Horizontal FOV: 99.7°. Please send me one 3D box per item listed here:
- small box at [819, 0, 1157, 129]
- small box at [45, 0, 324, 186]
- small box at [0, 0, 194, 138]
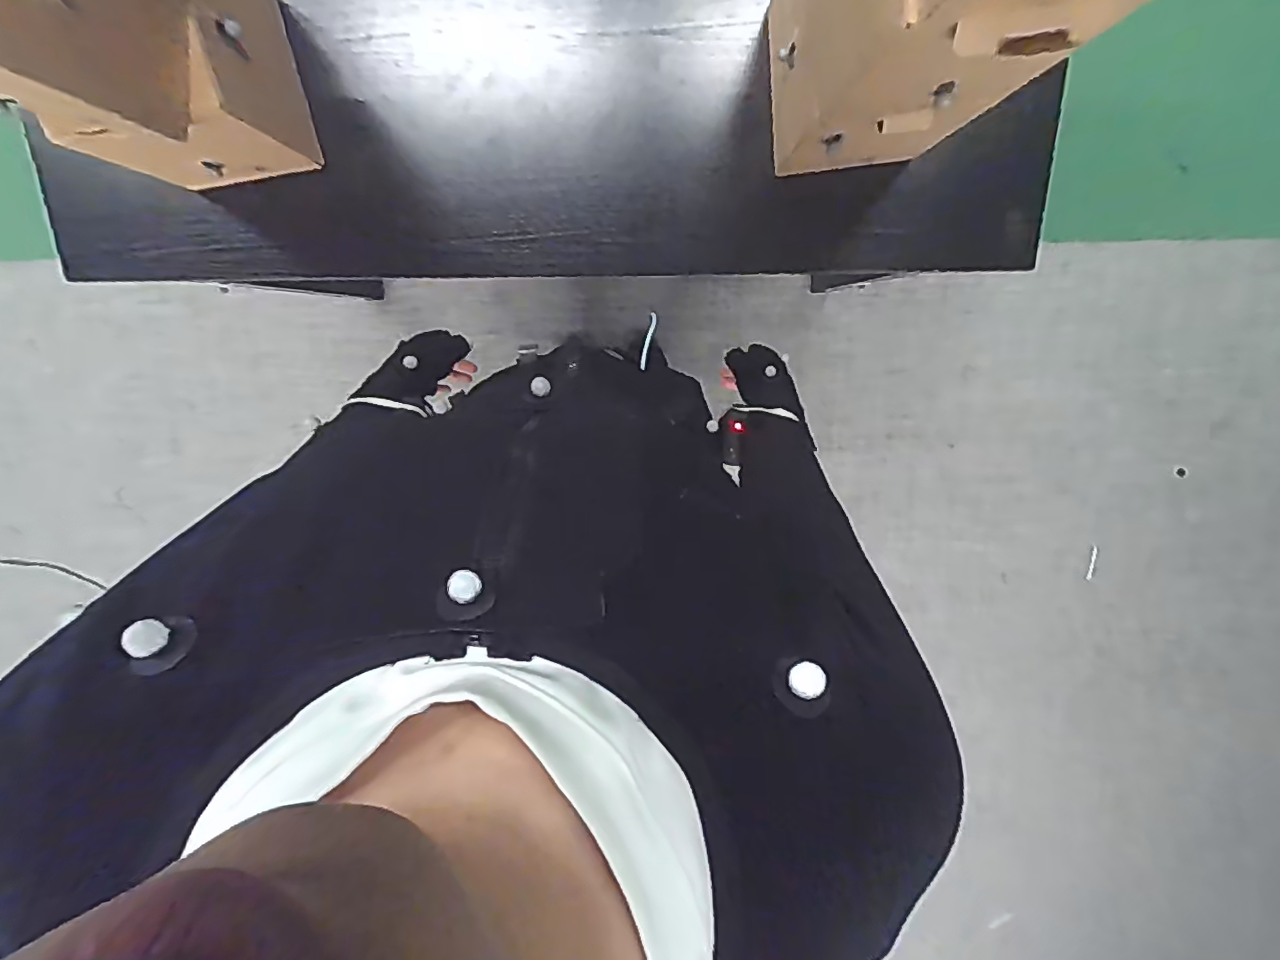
[{"bbox_3d":[0.232,-0.388,0.386,0.168,0.176,0.179,-8,105,3],"label":"small box"},{"bbox_3d":[-0.462,-0.423,0.545,0.168,0.176,0.179,-9,106,2],"label":"small box"},{"bbox_3d":[-0.464,-0.379,0.386,0.168,0.176,0.179,12,105,-4],"label":"small box"}]
